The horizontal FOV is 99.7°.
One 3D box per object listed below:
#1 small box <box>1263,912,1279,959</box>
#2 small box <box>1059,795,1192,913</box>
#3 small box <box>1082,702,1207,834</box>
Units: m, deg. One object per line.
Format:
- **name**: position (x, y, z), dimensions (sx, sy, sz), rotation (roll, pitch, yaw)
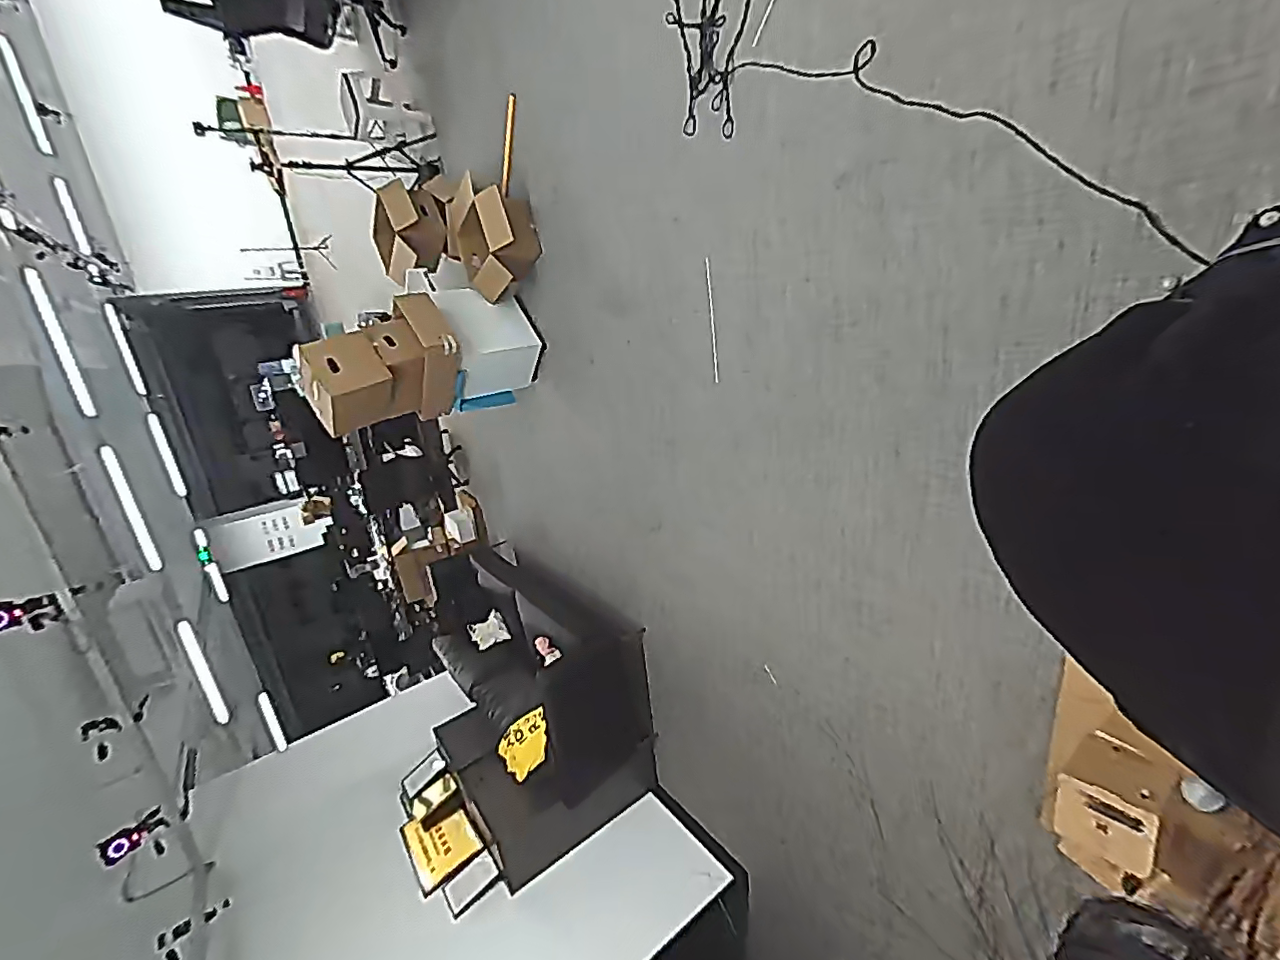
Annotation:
- **small box**: position (1.412, 0.992, 1.085), dimensions (0.179, 0.176, 0.168), rotation (26, 126, 48)
- **small box**: position (1.205, 0.904, 1.342), dimensions (0.179, 0.176, 0.168), rotation (38, 134, 43)
- **small box**: position (1.179, 0.661, 1.264), dimensions (0.168, 0.176, 0.179), rotation (23, 125, 50)
